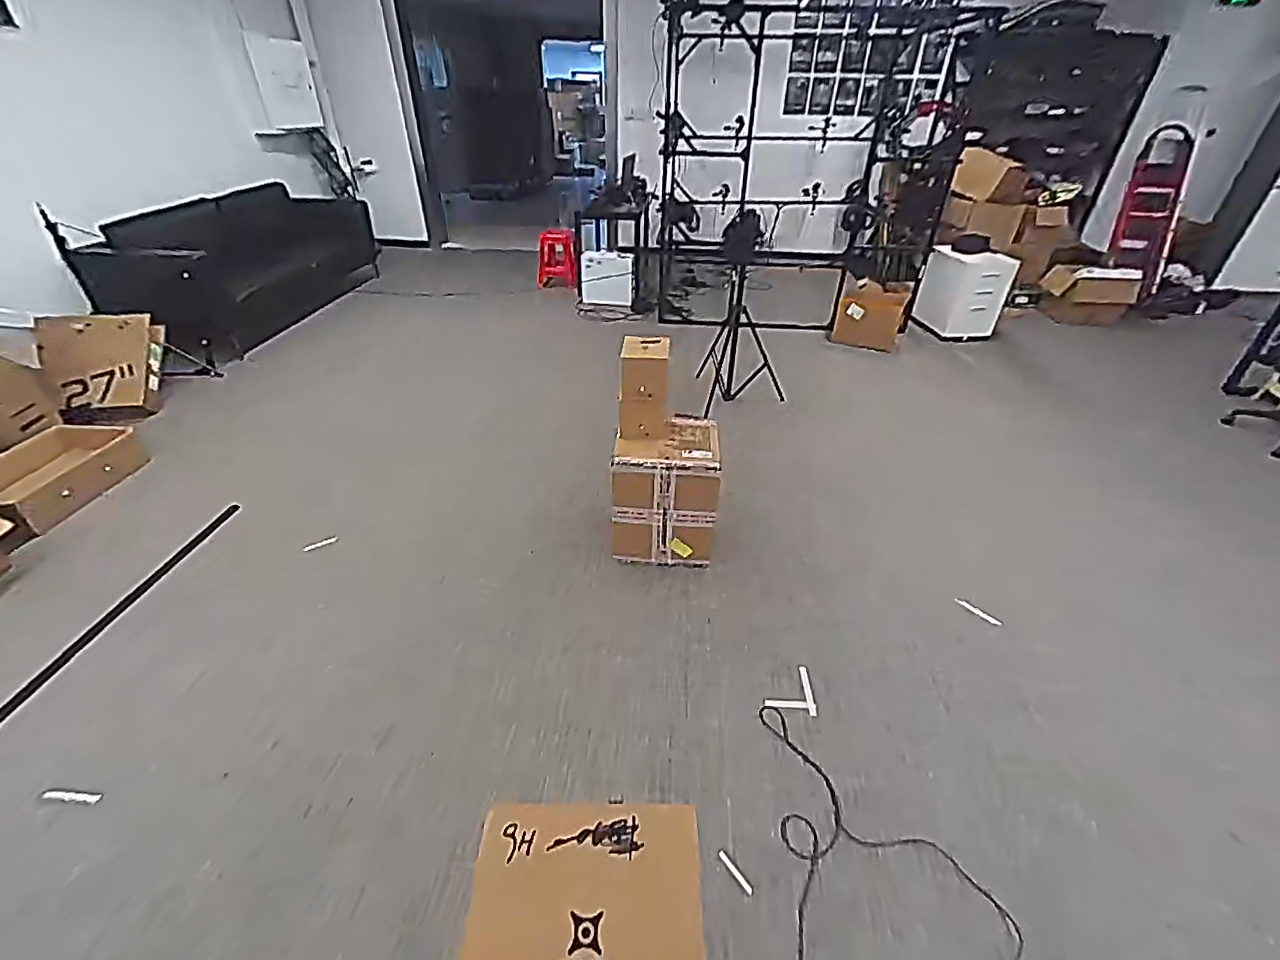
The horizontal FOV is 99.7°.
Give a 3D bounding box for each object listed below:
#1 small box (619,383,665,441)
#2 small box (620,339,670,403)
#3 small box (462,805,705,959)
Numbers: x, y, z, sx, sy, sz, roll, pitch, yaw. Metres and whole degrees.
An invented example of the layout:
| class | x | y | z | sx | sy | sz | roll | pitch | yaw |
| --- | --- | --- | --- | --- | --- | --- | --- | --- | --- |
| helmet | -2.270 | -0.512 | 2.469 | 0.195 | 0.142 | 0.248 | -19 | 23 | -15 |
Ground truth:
| class | x | y | z | sx | sy | sz | roll | pitch | yaw |
| --- | --- | --- | --- | --- | --- | --- | --- | --- | --- |
| small box | 0.009 | -0.265 | 2.055 | 0.168 | 0.176 | 0.179 | -1 | 37 | 2 |
| small box | 0.021 | -0.394 | 1.952 | 0.168 | 0.176 | 0.179 | 1 | 38 | 4 |
| small box | -0.036 | 0.371 | 0.419 | 0.168 | 0.176 | 0.179 | 0 | 46 | 1 |
